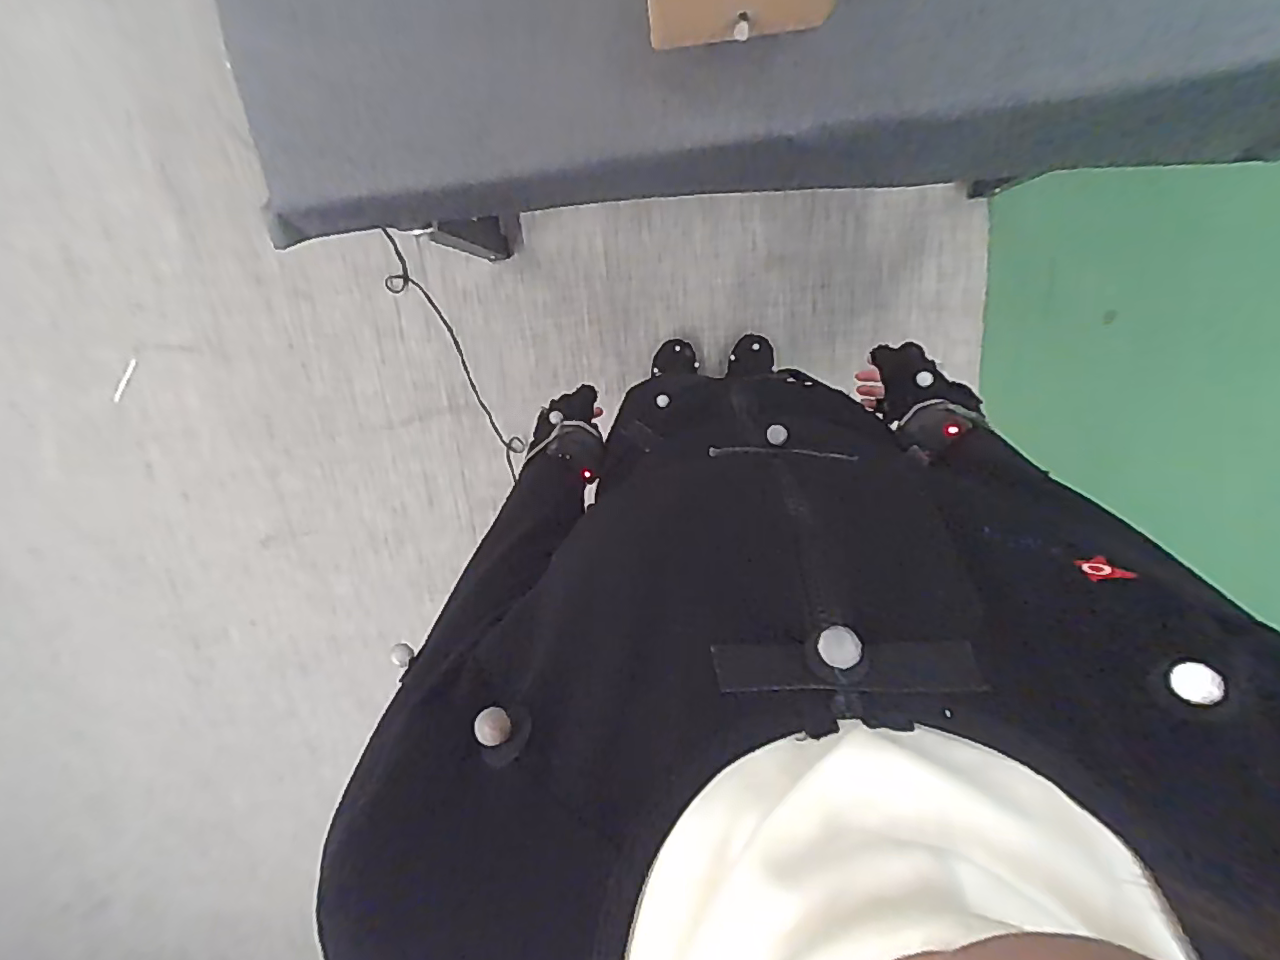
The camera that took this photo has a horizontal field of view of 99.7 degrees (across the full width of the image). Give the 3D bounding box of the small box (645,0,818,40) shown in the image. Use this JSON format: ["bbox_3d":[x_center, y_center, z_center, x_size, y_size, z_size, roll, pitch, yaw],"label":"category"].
[{"bbox_3d":[0.085,-0.518,0.459,0.179,0.176,0.168,-4,105,5],"label":"small box"}]
